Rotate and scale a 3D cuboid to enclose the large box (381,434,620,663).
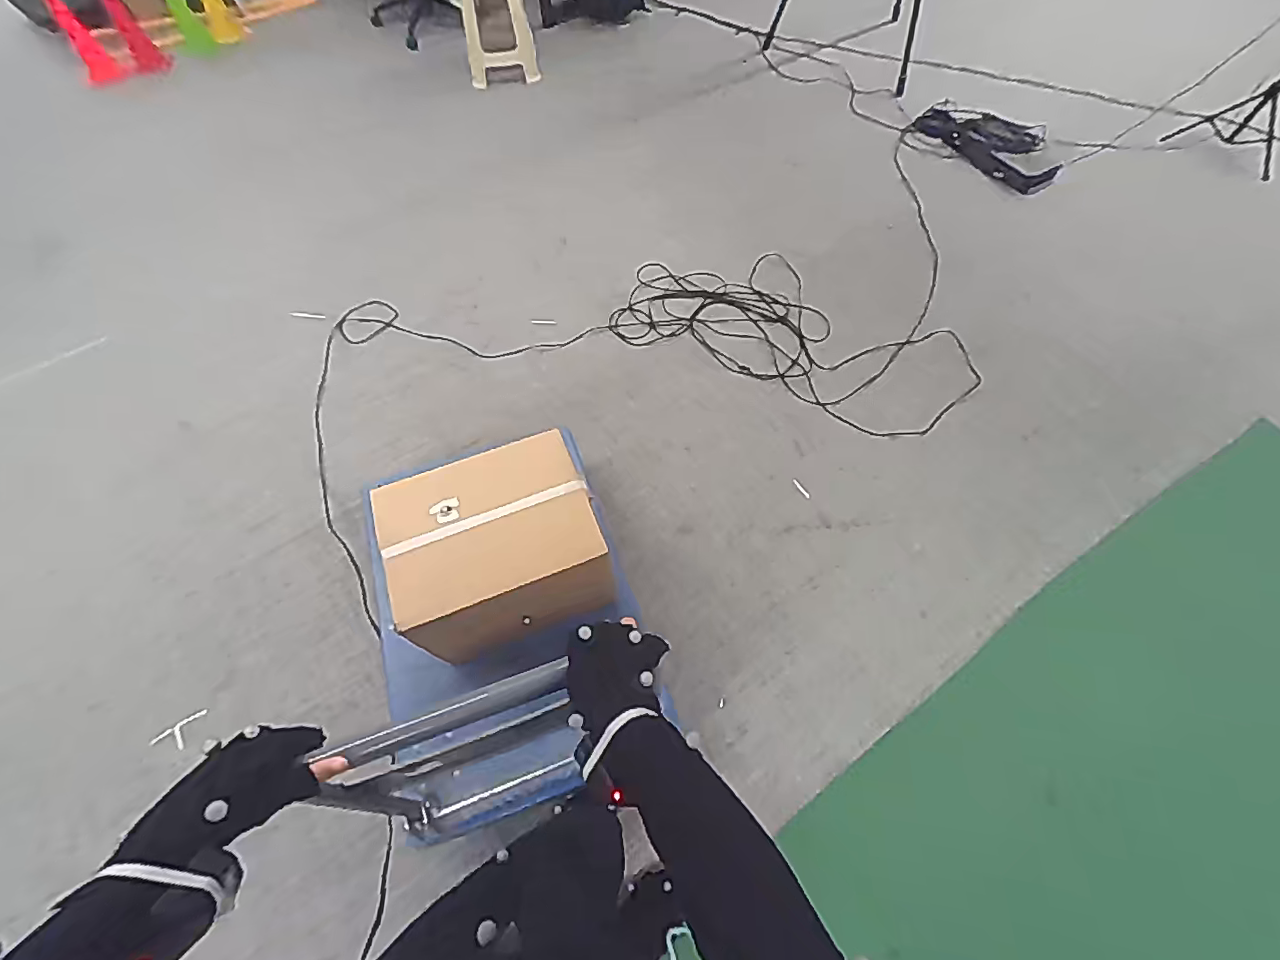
[{"bbox_3d":[-0.289,0.161,1.206,0.408,0.320,0.320,-21,61,-9],"label":"large box"}]
